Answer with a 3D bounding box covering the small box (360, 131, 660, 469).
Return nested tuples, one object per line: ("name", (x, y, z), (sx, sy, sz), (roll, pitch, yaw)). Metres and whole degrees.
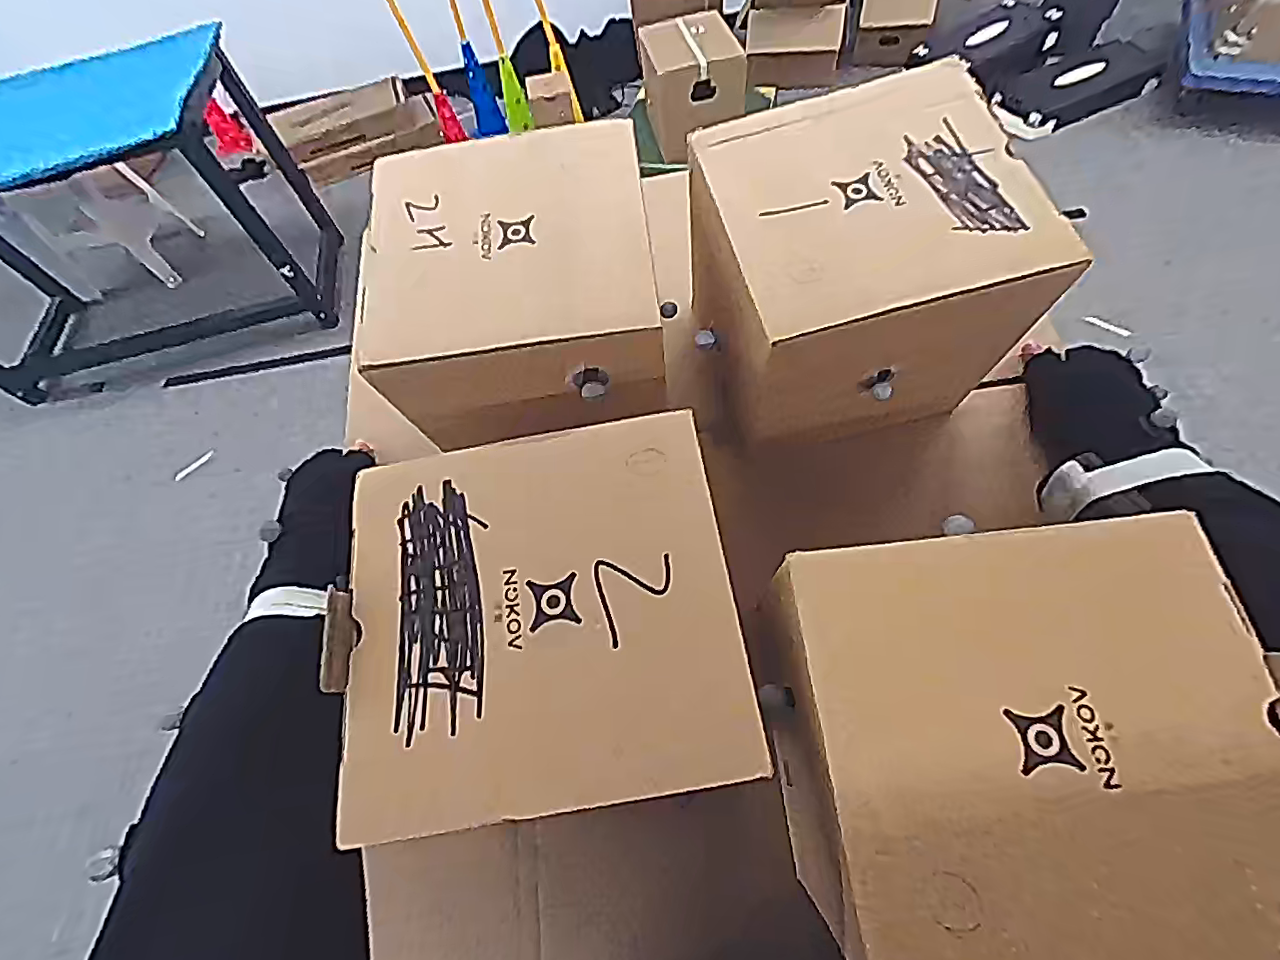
("small box", (-0.079, -0.120, 0.414), (0.179, 0.176, 0.168), (-8, 69, 4))
